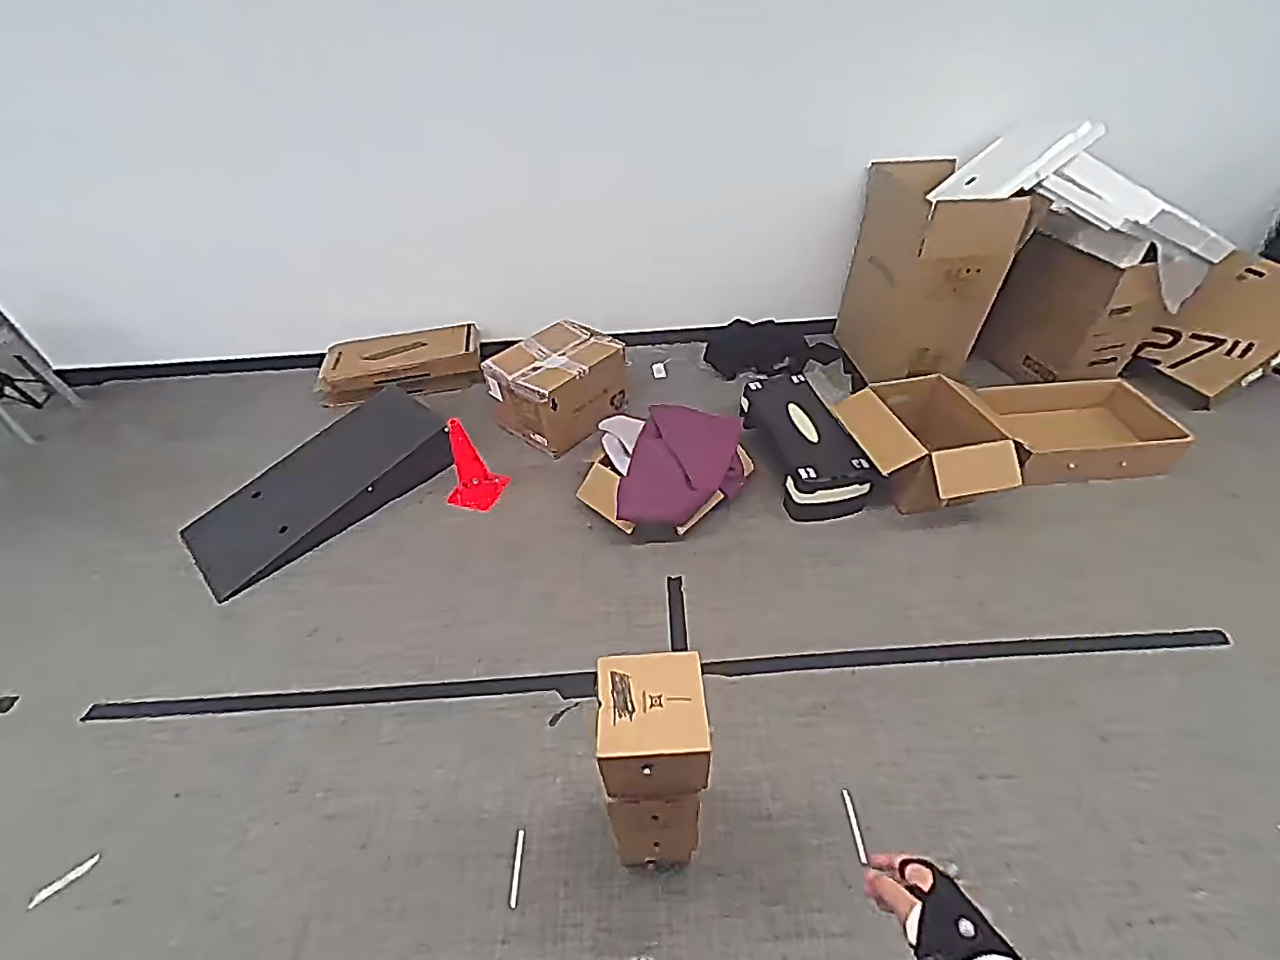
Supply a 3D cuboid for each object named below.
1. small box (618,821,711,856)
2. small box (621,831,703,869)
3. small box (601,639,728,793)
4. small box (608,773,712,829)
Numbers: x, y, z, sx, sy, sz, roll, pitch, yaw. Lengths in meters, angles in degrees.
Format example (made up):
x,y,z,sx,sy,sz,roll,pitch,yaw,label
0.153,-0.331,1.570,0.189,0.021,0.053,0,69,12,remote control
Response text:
x,y,z,sx,sy,sz,roll,pitch,yaw,label
0.046,0.612,1.061,0.168,0.176,0.179,-4,44,1,small box
0.046,0.725,1.181,0.168,0.176,0.179,-4,45,1,small box
0.036,0.368,0.839,0.179,0.176,0.168,-4,43,0,small box
0.037,0.495,0.946,0.168,0.176,0.179,-3,44,1,small box
